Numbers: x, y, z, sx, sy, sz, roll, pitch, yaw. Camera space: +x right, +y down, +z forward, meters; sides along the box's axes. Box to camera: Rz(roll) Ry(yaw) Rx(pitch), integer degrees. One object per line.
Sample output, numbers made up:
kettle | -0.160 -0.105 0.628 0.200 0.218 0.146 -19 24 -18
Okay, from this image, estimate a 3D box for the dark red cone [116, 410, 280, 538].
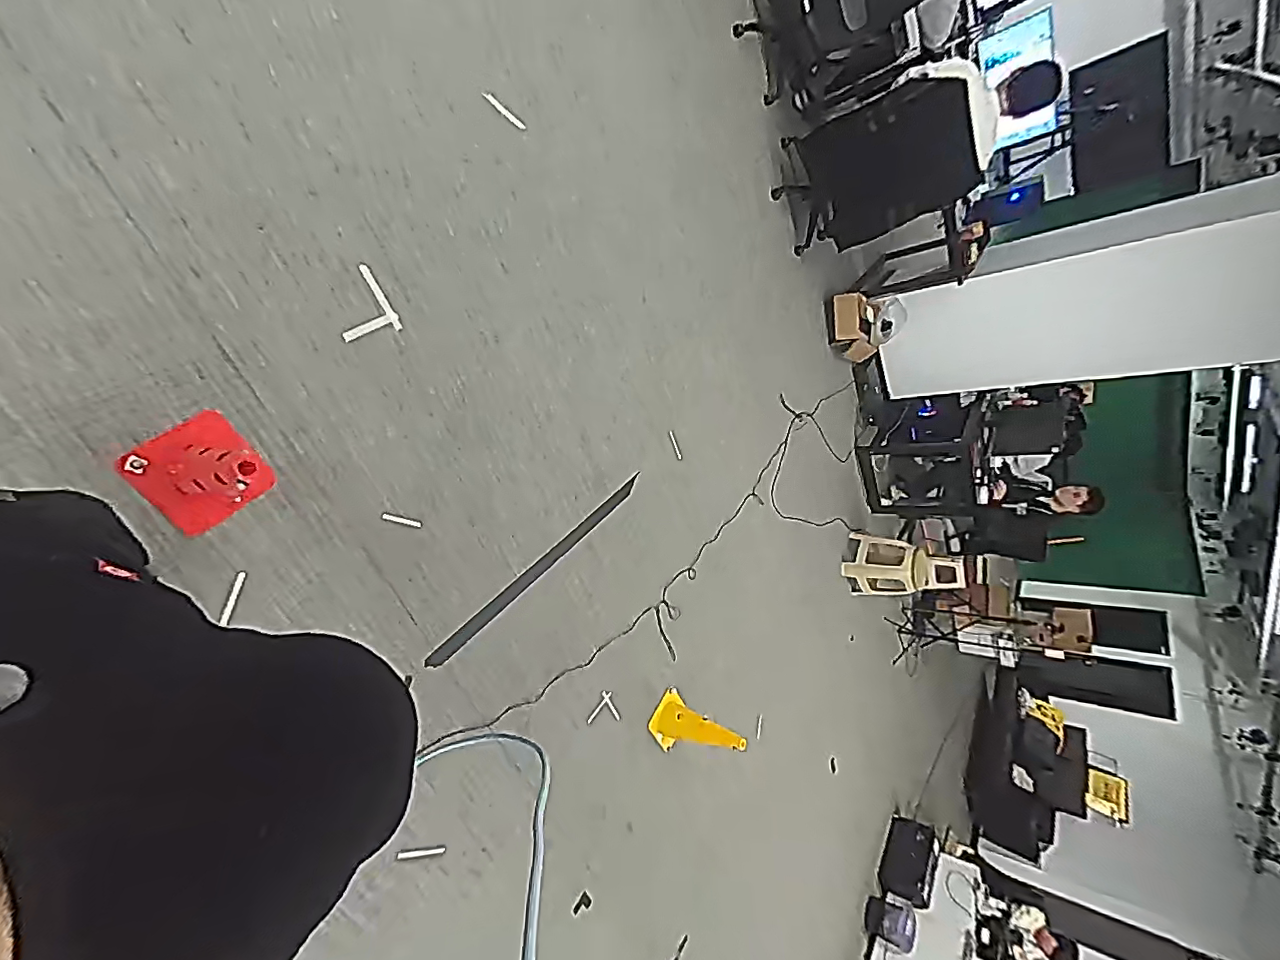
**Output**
dark red cone | -0.747 -0.013 0.975 0.202 0.394 0.201 -51 127 -36
